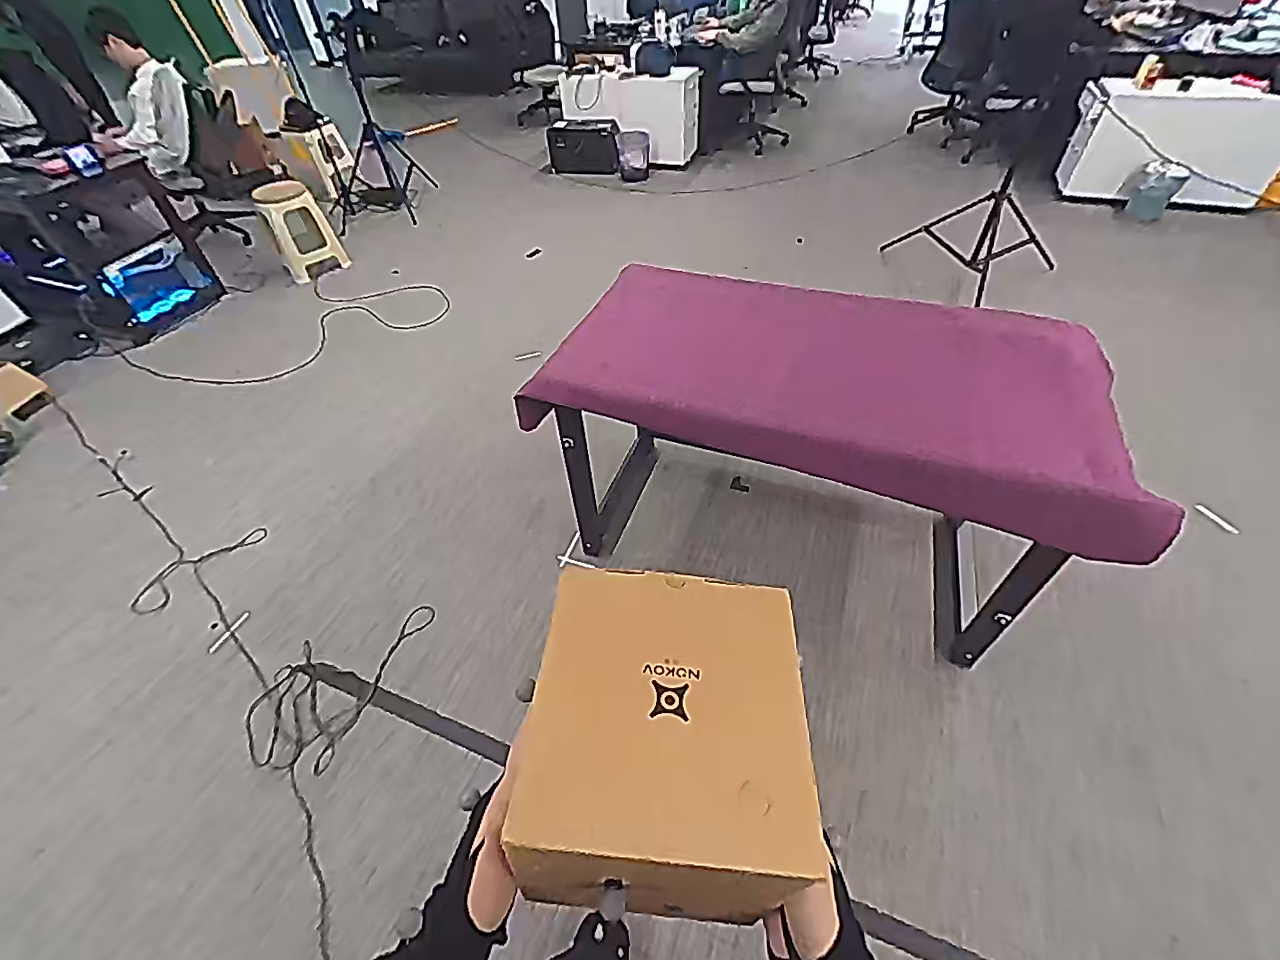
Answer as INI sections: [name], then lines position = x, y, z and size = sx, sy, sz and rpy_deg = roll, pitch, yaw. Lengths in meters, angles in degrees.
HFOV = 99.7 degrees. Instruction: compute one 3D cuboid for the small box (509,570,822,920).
[small box]
position = 0.015, 0.191, 0.390
size = 0.168, 0.176, 0.179
rpy_deg = 6, 43, 0
